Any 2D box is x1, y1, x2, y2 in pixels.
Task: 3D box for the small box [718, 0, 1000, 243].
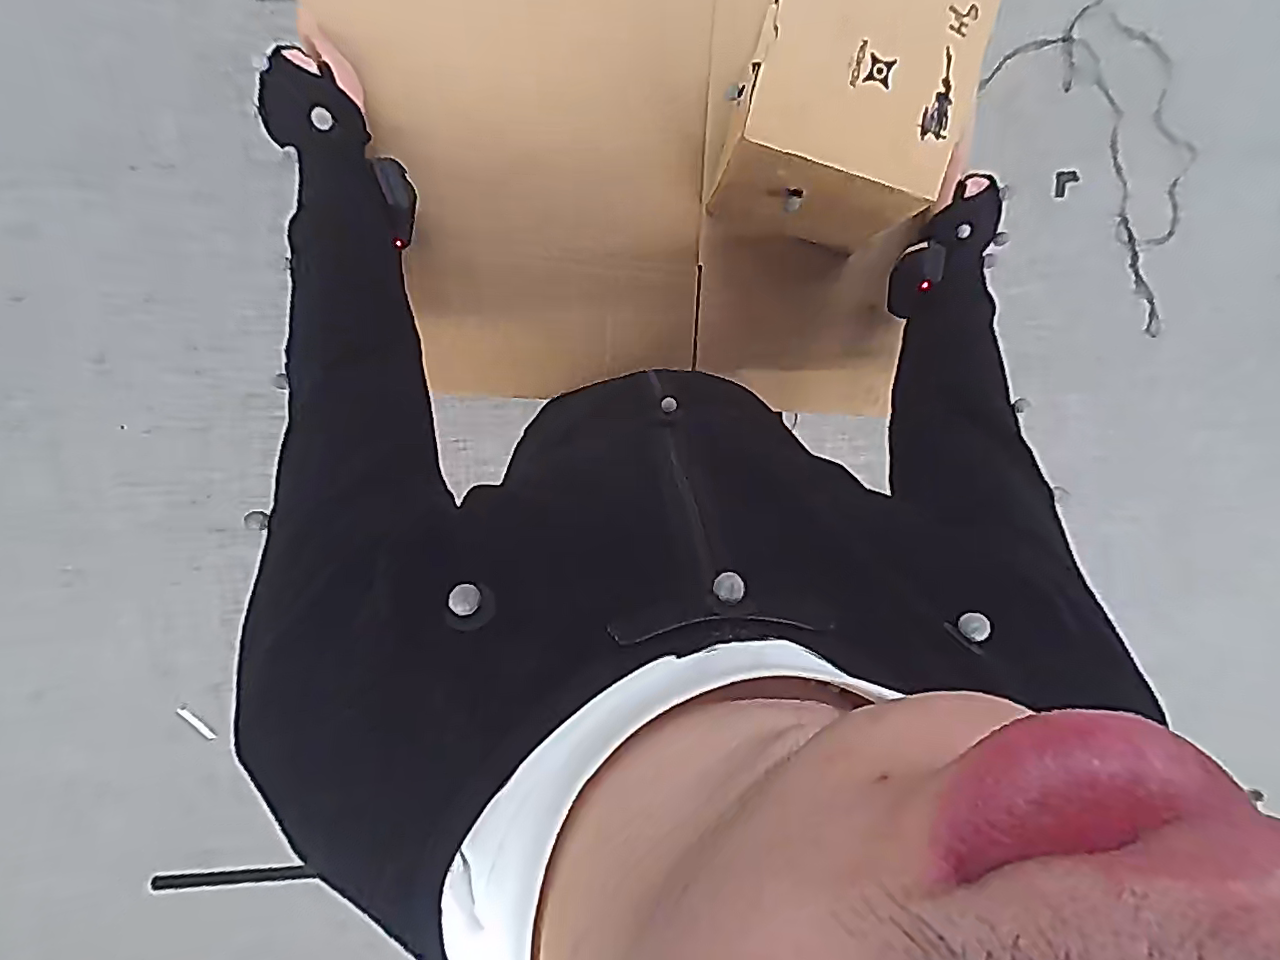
[{"bbox_3d":[0.186,-0.350,0.519,0.179,0.176,0.168,15,98,-4],"label":"small box"}]
